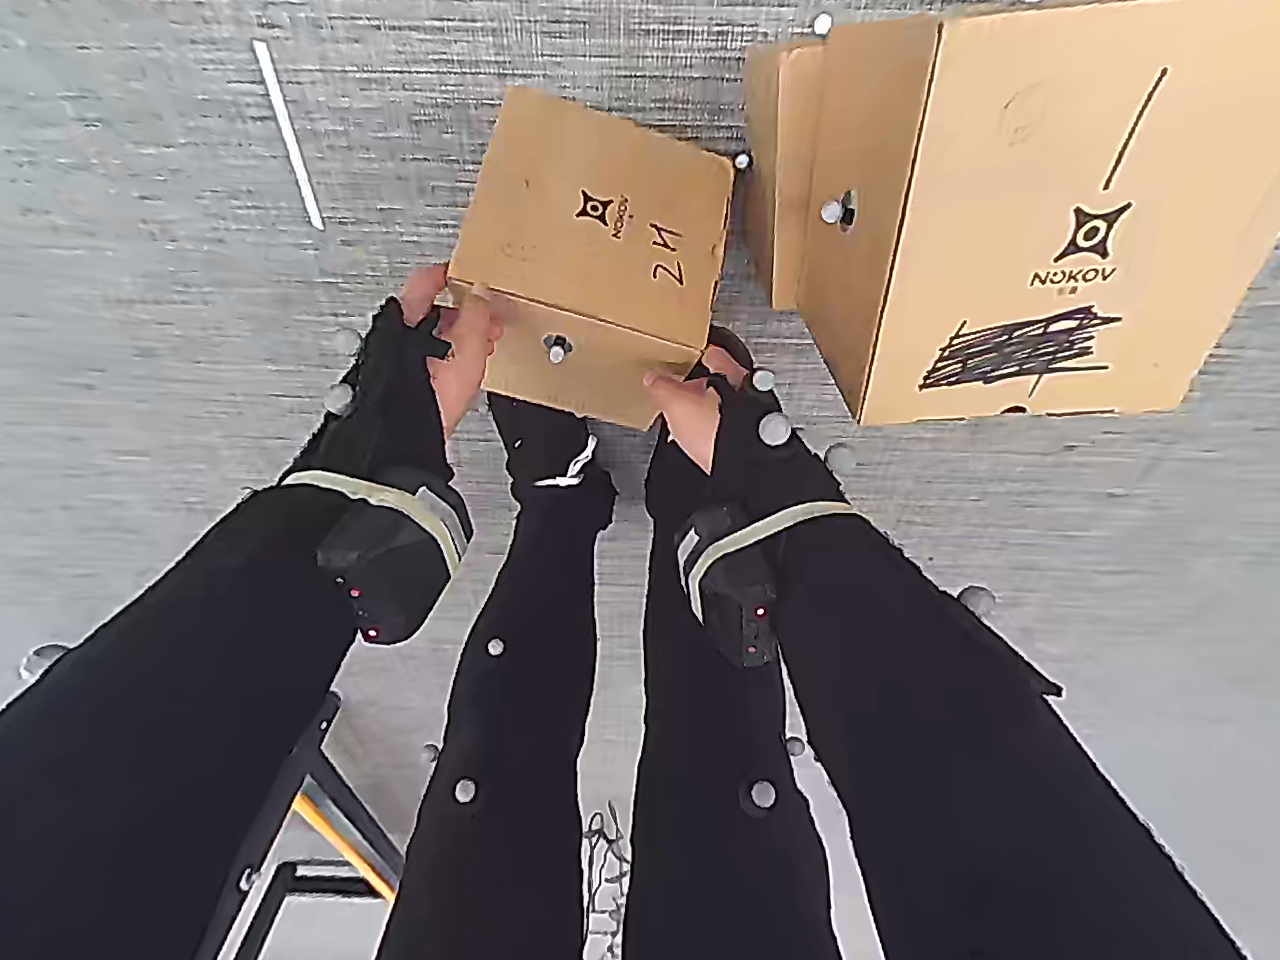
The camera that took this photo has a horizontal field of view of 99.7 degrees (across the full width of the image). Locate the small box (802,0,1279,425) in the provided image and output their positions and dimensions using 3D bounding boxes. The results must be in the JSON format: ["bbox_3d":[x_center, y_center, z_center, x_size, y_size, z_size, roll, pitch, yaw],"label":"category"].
[{"bbox_3d":[0.196,-0.150,0.307,0.168,0.176,0.179,-3,128,4],"label":"small box"}]

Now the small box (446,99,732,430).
[{"bbox_3d":[-0.044,-0.157,0.452,0.179,0.168,0.176,14,162,-11],"label":"small box"}]
